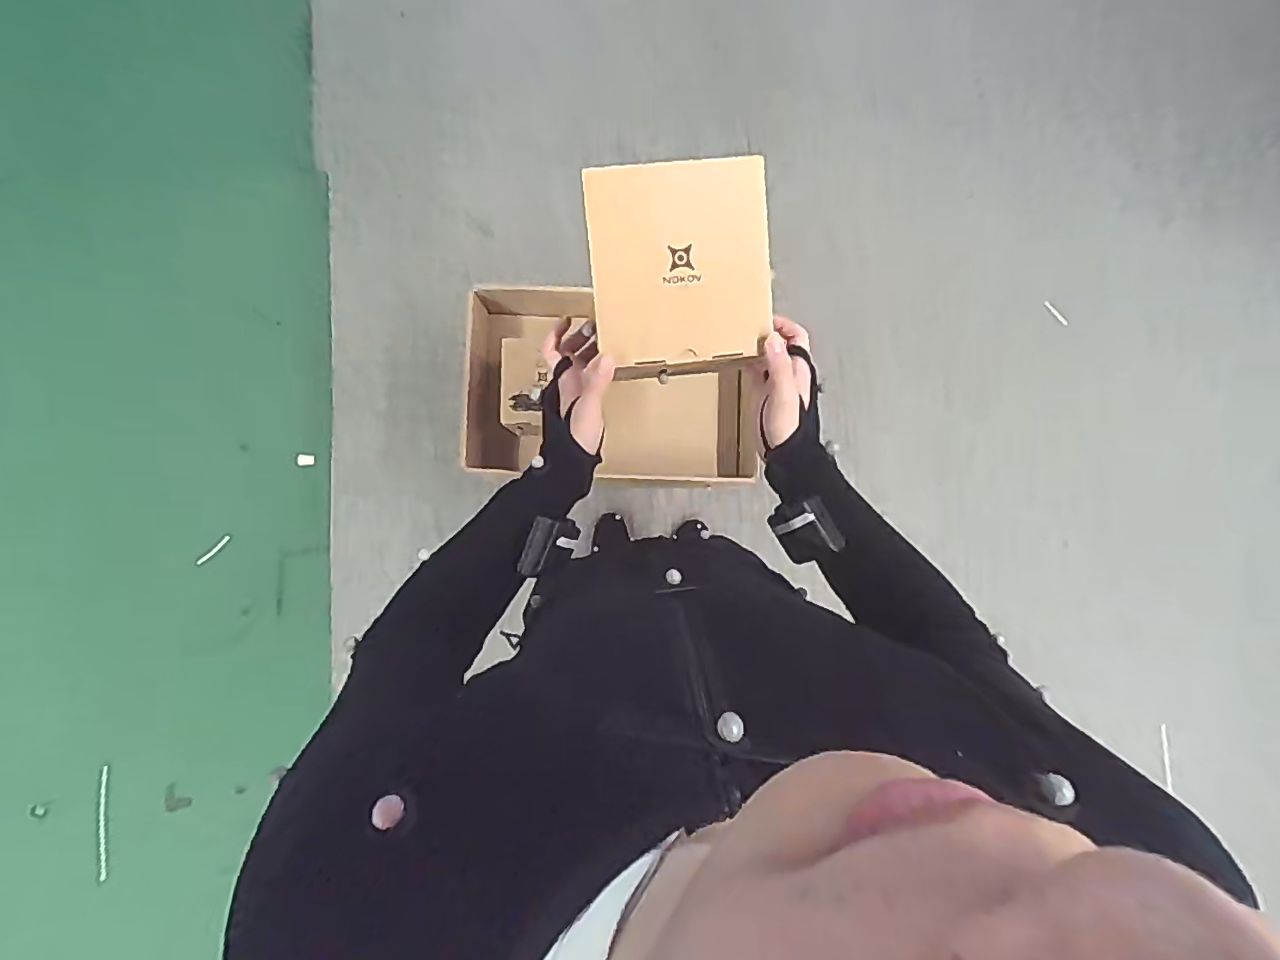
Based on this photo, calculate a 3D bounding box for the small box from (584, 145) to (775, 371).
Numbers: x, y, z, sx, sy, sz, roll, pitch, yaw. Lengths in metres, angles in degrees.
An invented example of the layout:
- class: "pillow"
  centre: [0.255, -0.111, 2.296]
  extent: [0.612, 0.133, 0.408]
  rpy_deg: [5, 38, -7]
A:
- class: "small box"
  centre: [0.030, -0.212, 0.559]
  extent: [0.168, 0.176, 0.179]
  rpy_deg: [-6, 98, -4]
